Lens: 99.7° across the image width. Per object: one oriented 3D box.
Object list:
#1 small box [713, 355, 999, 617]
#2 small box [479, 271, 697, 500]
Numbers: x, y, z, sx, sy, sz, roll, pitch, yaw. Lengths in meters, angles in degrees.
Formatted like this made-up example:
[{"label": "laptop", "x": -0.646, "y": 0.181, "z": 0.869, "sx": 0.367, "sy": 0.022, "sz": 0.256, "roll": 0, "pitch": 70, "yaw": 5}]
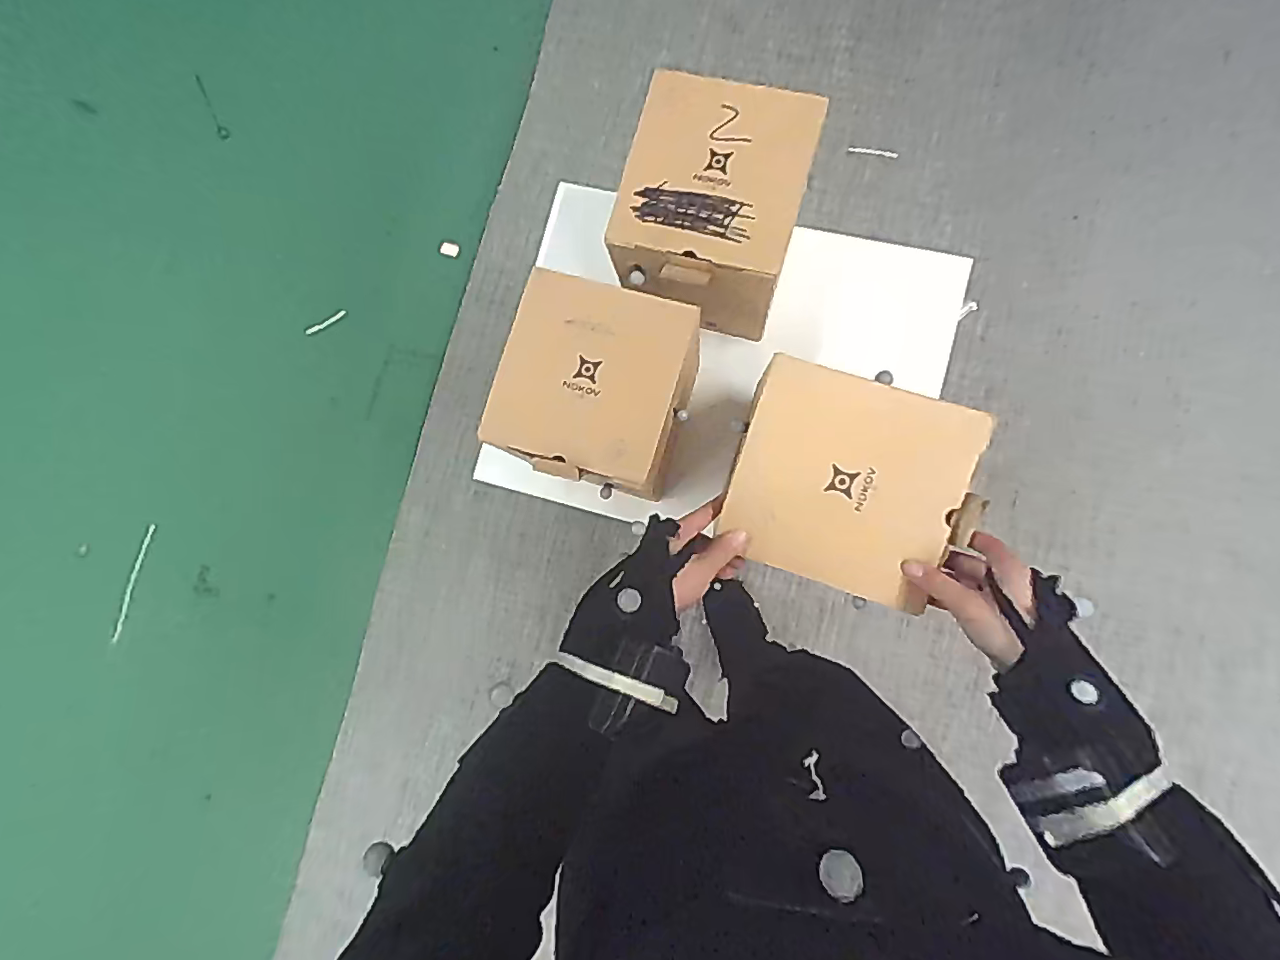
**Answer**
[{"label": "small box", "x": 0.173, "y": 0.002, "z": 0.498, "sx": 0.179, "sy": 0.176, "sz": 0.168, "roll": 18, "pitch": 94, "yaw": 6}, {"label": "small box", "x": -0.040, "y": -0.085, "z": 0.573, "sx": 0.168, "sy": 0.176, "sz": 0.179, "roll": 16, "pitch": 84, "yaw": 7}]
